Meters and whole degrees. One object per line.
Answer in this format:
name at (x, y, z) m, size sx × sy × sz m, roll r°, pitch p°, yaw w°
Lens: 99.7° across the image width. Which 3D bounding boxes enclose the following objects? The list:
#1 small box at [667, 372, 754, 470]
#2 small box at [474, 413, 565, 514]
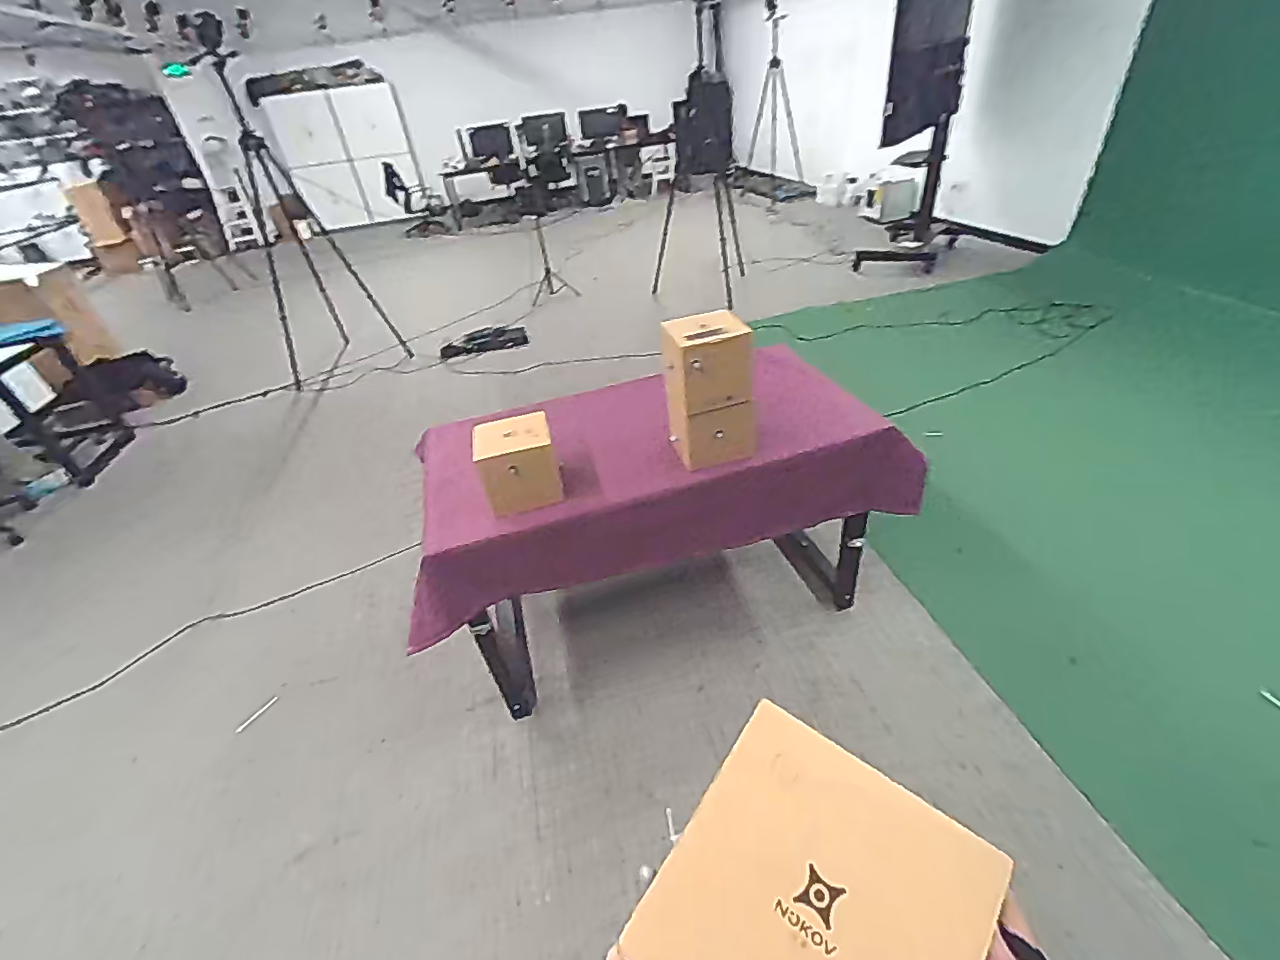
small box at (0.178, -0.150, 1.374) m, size 0.179 × 0.176 × 0.168 m, roll -14°, pitch 36°, yaw -6°
small box at (-0.292, -0.038, 1.315) m, size 0.179 × 0.176 × 0.168 m, roll -13°, pitch 37°, yaw -7°
